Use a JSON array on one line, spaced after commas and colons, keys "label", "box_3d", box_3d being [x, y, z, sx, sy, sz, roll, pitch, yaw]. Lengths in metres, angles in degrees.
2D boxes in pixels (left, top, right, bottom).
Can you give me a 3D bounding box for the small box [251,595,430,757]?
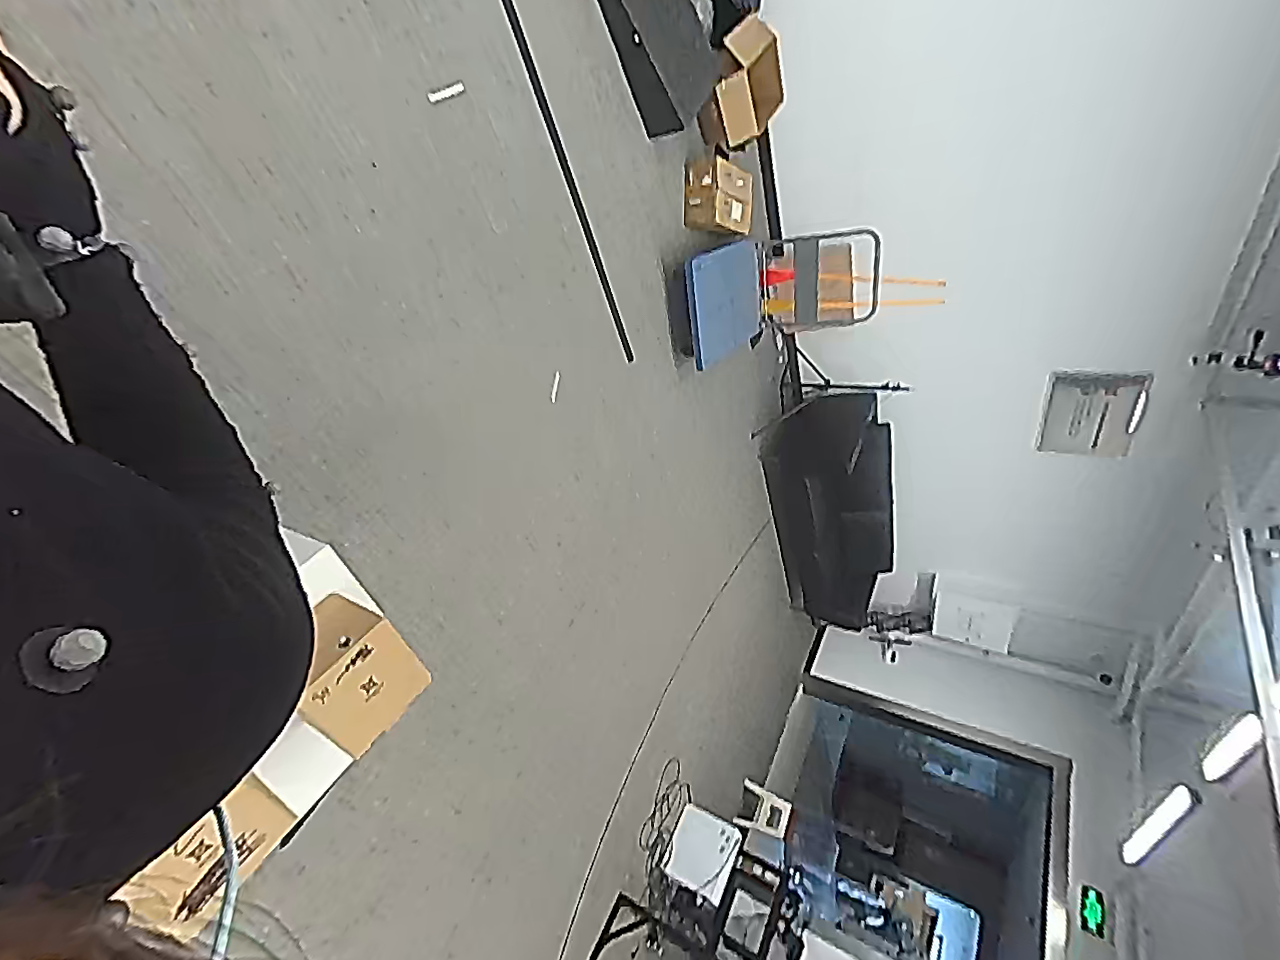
[{"label": "small box", "box_3d": [-0.504, 0.323, 0.920, 0.168, 0.176, 0.179, -49, 138, -39]}]
